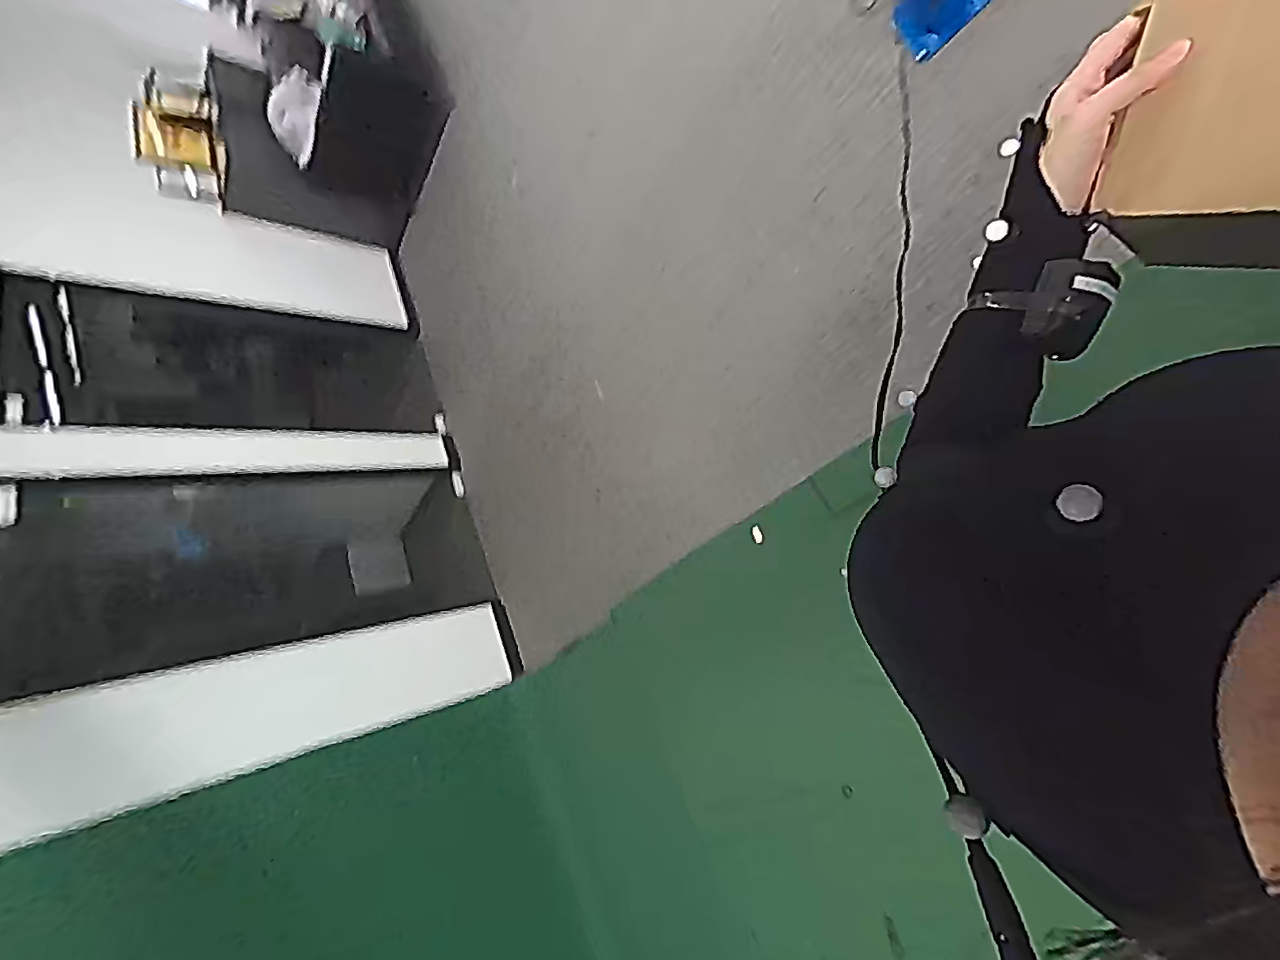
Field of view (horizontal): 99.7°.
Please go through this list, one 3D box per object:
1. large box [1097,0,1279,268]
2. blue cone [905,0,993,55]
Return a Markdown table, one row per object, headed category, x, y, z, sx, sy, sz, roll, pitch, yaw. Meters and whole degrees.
| category | x | y | z | sx | sy | sz | roll | pitch | yaw |
| --- | --- | --- | --- | --- | --- | --- | --- | --- | --- |
| large box | 0.588 | -0.313 | 0.323 | 0.408 | 0.320 | 0.320 | 21 | 114 | 43 |
| blue cone | 0.666 | -1.216 | 1.260 | 0.193 | 0.380 | 0.192 | -31 | 70 | 44 |
